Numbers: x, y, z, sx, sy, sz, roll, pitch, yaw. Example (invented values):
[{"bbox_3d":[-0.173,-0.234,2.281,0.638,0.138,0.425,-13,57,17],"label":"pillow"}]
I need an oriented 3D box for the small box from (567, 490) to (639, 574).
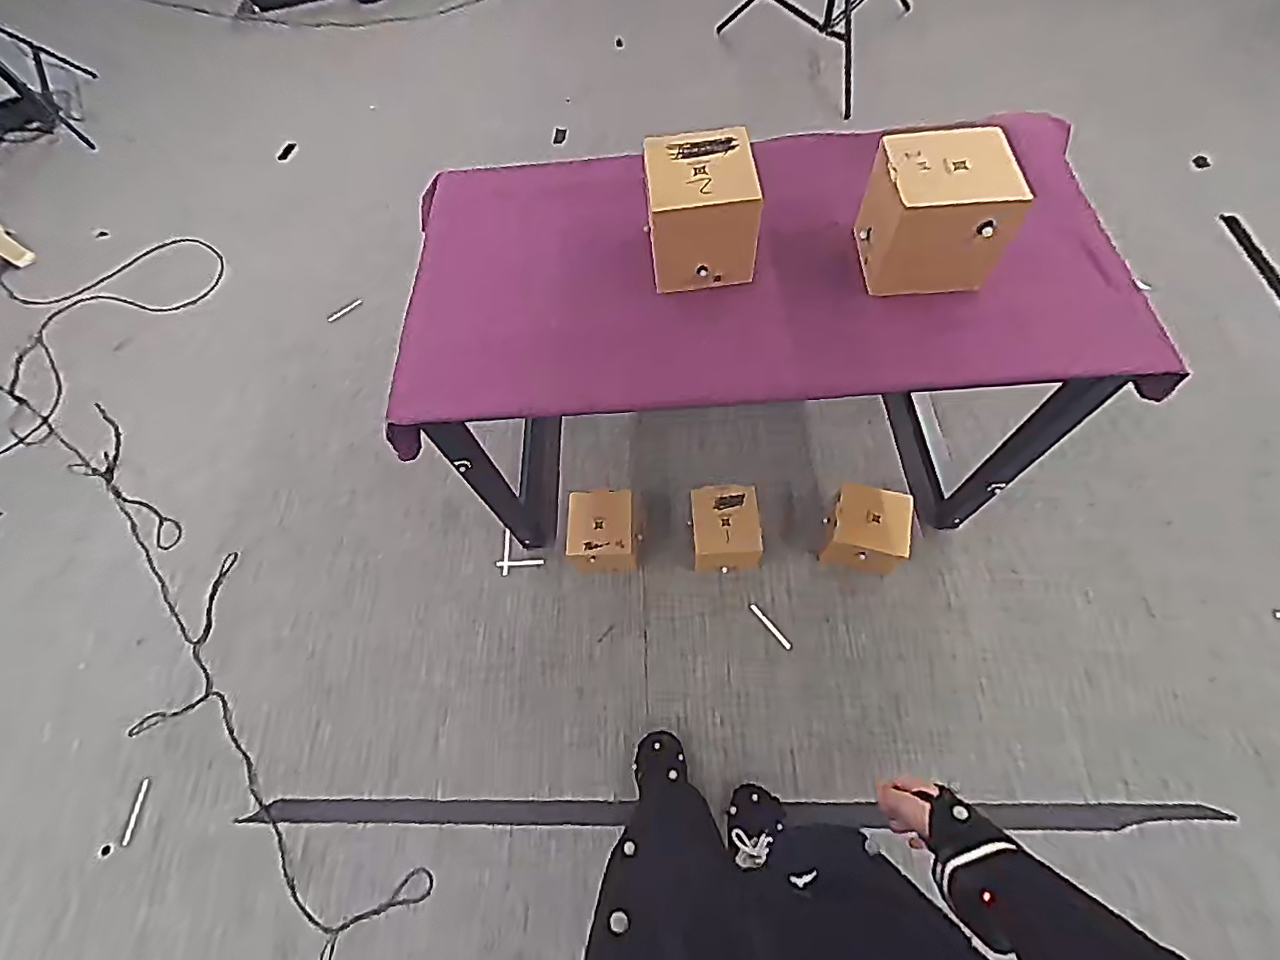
[{"bbox_3d":[-0.093,0.142,1.448,0.168,0.176,0.179,-1,63,5],"label":"small box"}]

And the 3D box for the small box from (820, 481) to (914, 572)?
[{"bbox_3d":[0.578,0.126,1.388,0.179,0.176,0.168,12,67,13],"label":"small box"}]

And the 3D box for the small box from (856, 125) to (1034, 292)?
[{"bbox_3d":[0.460,-0.417,0.848,0.179,0.176,0.168,-2,63,6],"label":"small box"}]

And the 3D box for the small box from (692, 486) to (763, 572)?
[{"bbox_3d":[0.222,0.131,1.420,0.168,0.176,0.179,-4,65,4],"label":"small box"}]
